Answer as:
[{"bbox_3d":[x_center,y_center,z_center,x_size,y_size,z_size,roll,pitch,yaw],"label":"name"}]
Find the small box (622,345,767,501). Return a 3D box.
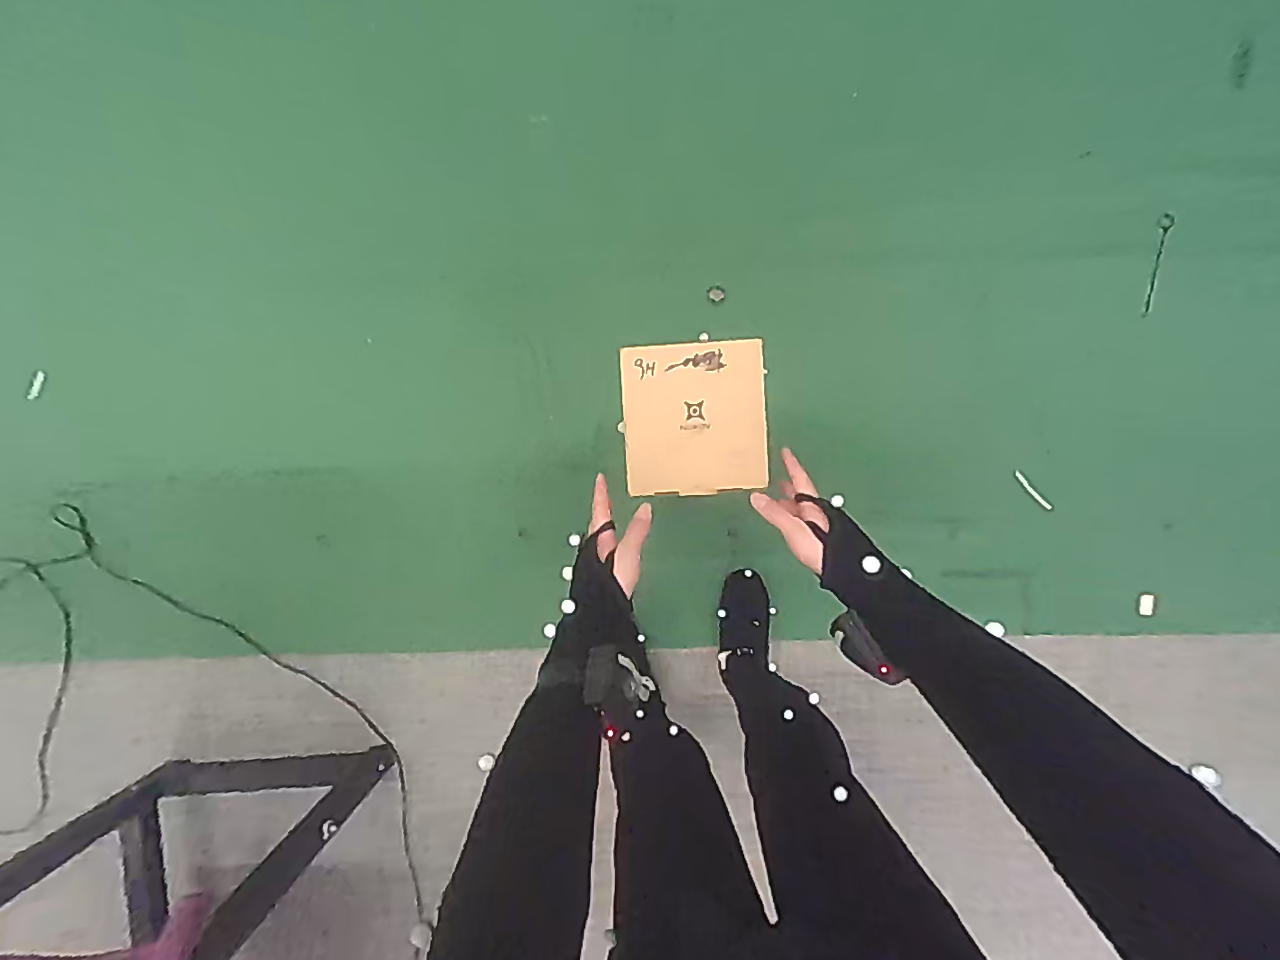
[{"bbox_3d":[0.068,-0.071,0.706,0.168,0.176,0.179,-3,93,3],"label":"small box"}]
